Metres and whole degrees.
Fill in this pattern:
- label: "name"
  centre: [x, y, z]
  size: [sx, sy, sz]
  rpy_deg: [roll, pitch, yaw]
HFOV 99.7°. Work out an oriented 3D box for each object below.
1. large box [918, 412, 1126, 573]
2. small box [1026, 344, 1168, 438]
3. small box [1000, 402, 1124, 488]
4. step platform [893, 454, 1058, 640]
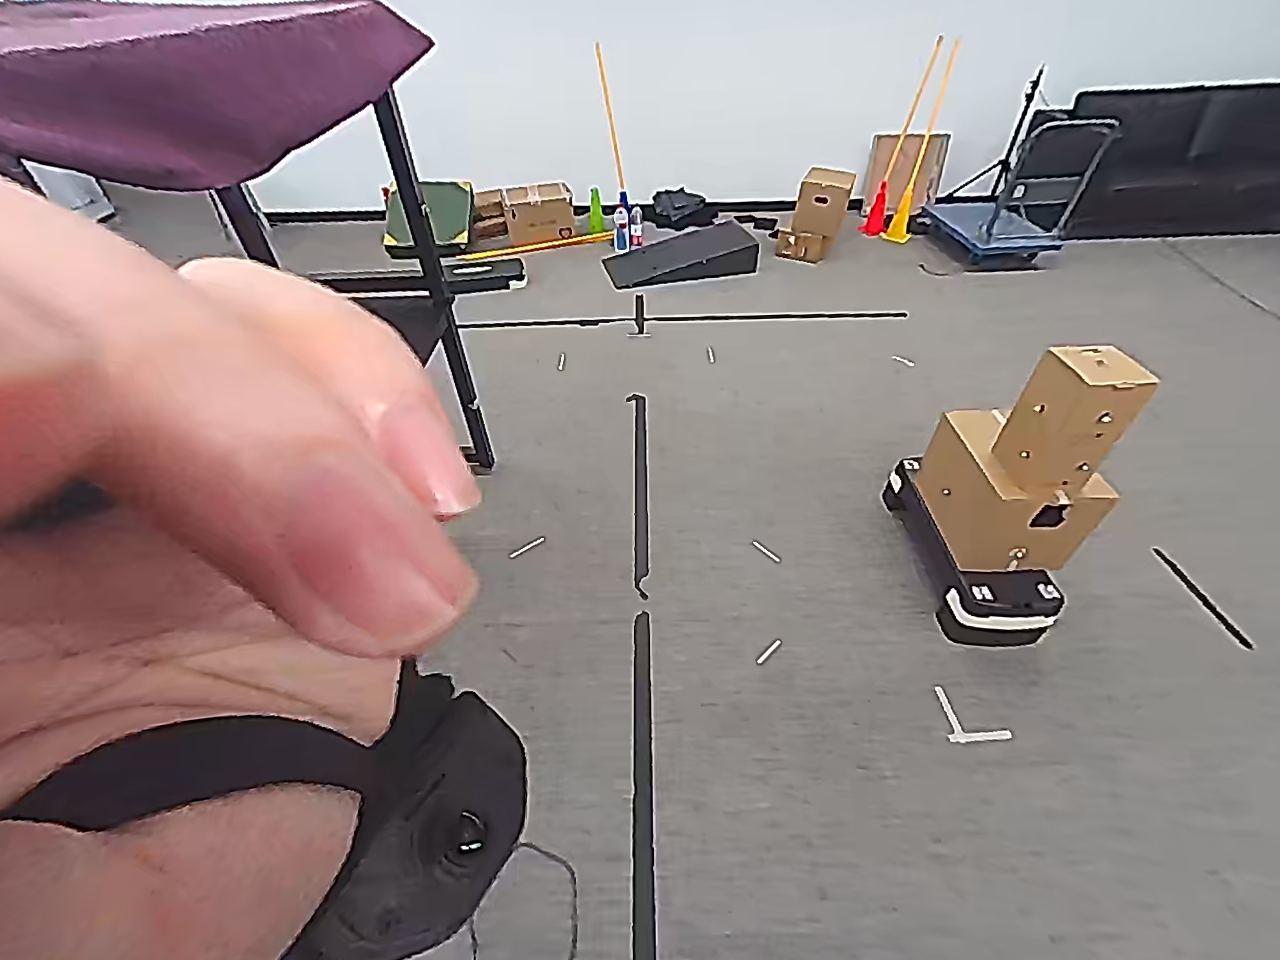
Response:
- label: "large box"
  centre: [1.121, 0.034, 1.654]
  size: [0.320, 0.320, 0.408]
  rpy_deg: [0, 42, 1]
- label: "small box"
  centre: [1.101, -0.214, 1.322]
  size: [0.168, 0.176, 0.179]
  rpy_deg: [-1, 43, 0]
- label: "small box"
  centre: [1.104, -0.091, 1.431]
  size: [0.168, 0.176, 0.179]
  rpy_deg: [0, 42, 2]
- label: "step platform"
  centre: [1.101, 0.190, 1.837]
  size: [0.286, 0.204, 0.684]
  rpy_deg: [3, 42, 5]
